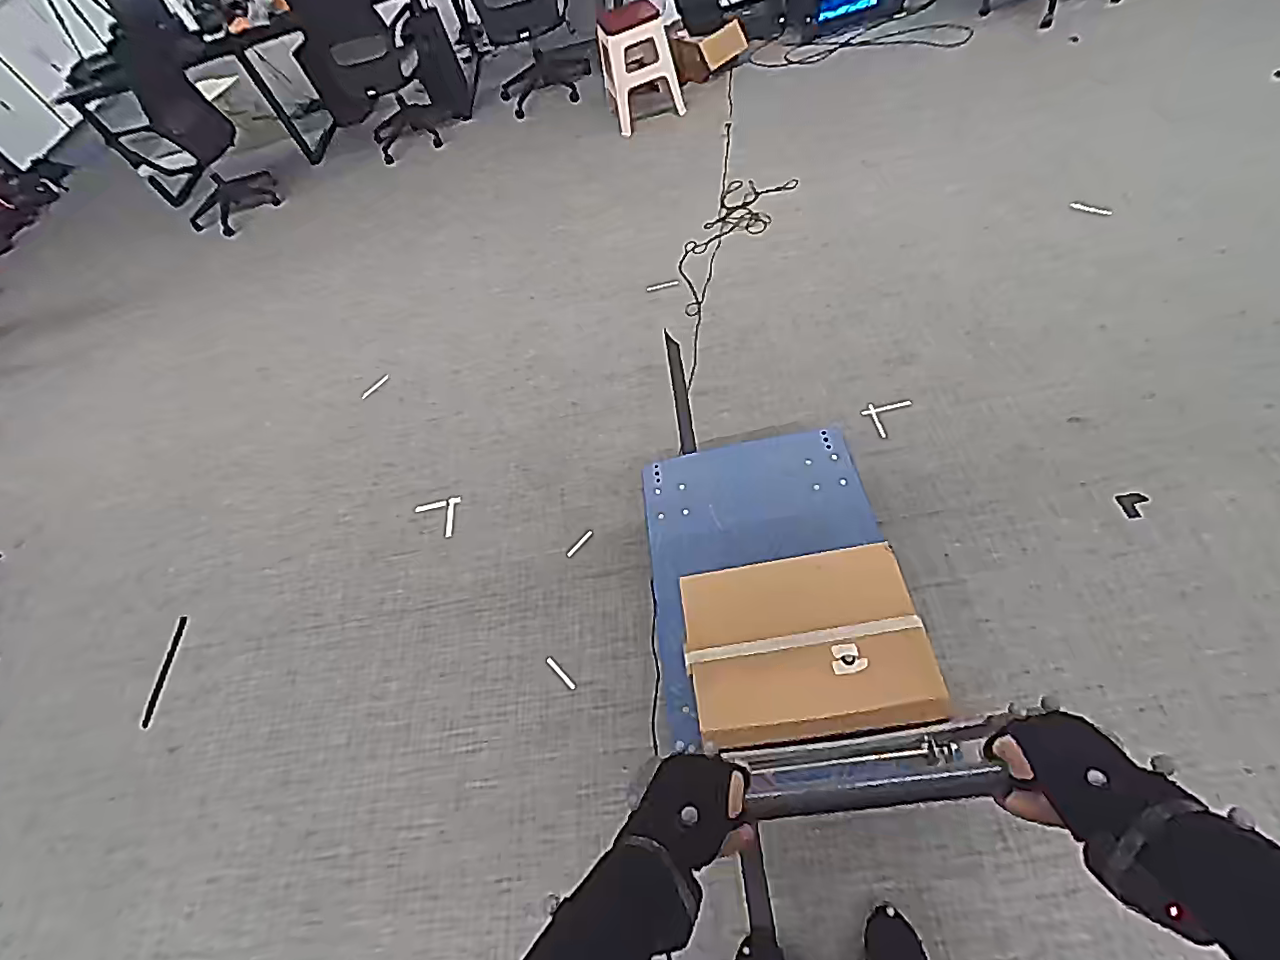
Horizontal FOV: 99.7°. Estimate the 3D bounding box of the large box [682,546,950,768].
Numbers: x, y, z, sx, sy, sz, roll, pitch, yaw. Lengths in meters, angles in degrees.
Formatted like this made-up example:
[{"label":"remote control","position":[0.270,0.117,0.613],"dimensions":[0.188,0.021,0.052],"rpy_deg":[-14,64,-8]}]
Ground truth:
[{"label":"large box","position":[0.320,0.371,1.093],"dimensions":[0.408,0.320,0.320],"rpy_deg":[-11,57,7]}]
